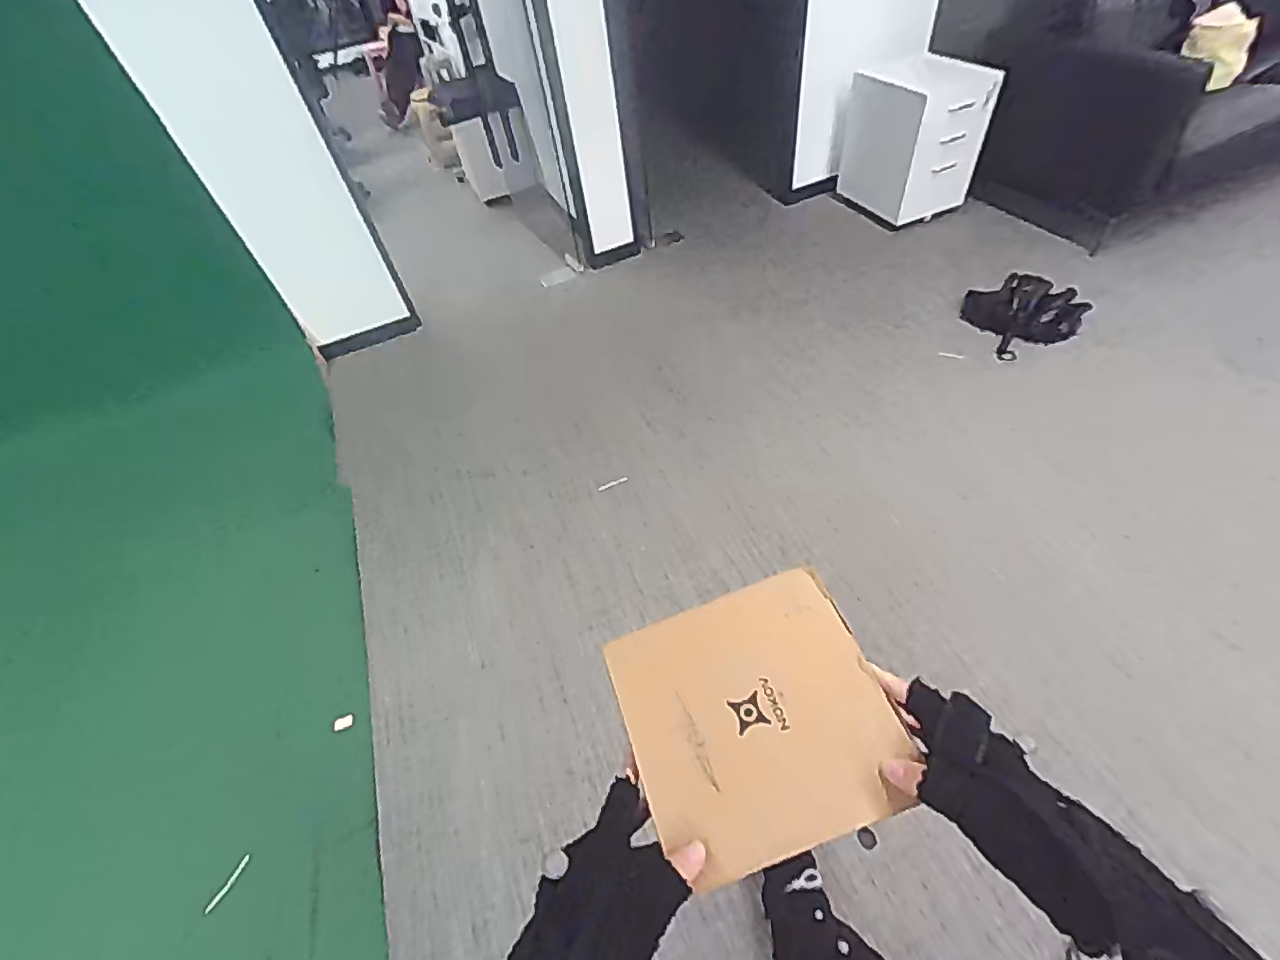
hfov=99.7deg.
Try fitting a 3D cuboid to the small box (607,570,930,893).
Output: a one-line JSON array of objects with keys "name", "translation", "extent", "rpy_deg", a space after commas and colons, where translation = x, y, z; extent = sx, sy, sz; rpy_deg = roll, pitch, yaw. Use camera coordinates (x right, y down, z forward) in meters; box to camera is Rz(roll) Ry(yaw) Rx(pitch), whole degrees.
[{"name": "small box", "translation": [0.092, 0.205, 0.444], "extent": [0.179, 0.176, 0.168], "rpy_deg": [-22, 54, -2]}]
